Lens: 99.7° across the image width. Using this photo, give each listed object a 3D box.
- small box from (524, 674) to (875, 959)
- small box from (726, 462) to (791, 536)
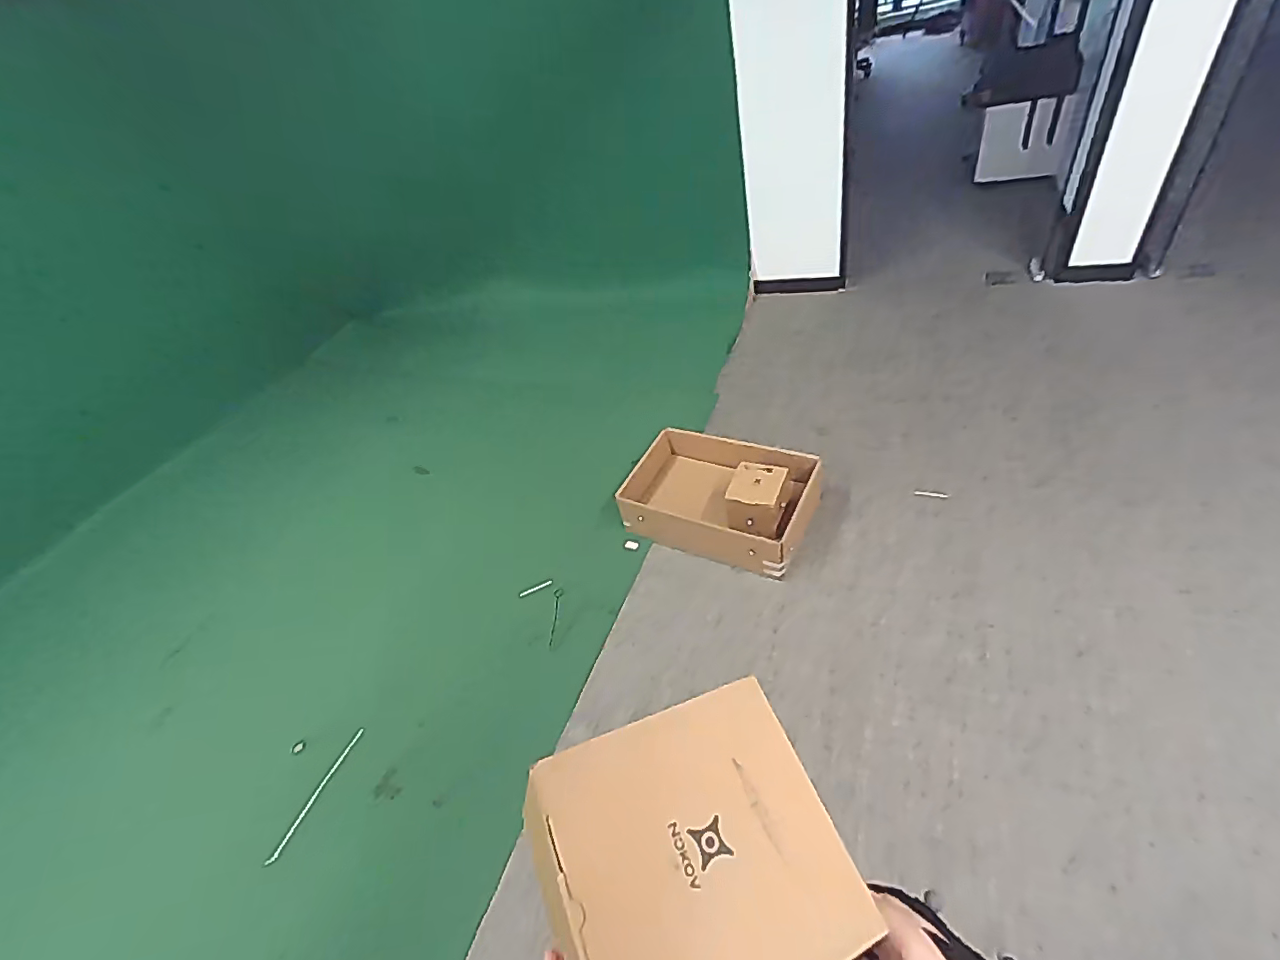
[{"bbox_3d":[0.021,0.275,0.396,0.179,0.176,0.168,-12,55,-22],"label":"small box"},{"bbox_3d":[0.404,0.065,1.812,0.168,0.176,0.179,10,51,28],"label":"small box"}]
